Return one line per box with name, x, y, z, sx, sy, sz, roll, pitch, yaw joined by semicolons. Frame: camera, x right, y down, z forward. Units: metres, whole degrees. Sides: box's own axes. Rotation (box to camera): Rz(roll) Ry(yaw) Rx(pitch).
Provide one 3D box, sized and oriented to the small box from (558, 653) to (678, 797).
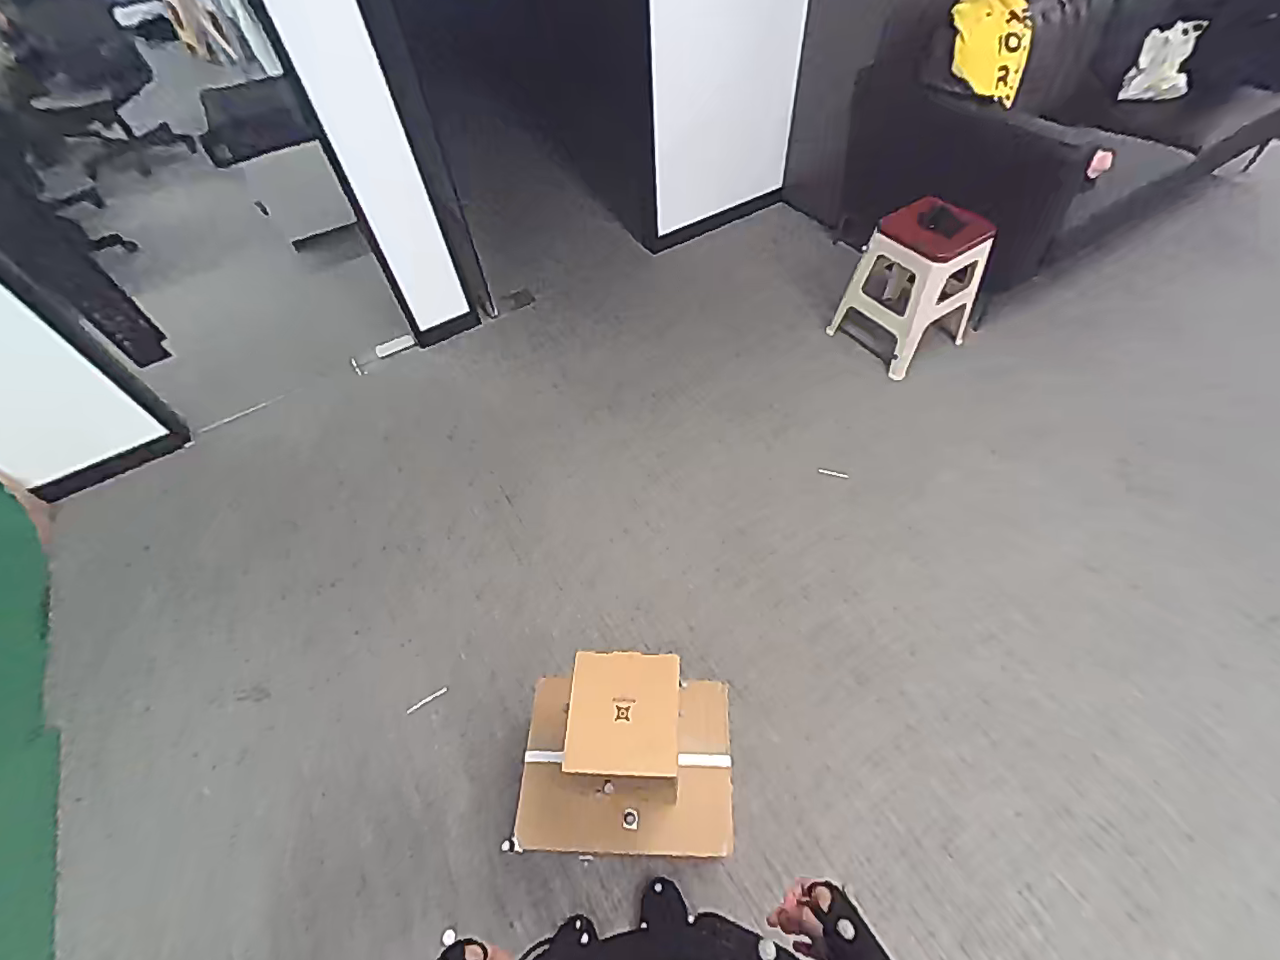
small box;-0.024;0.392;0.860;0.168;0.176;0.179;0;51;4
